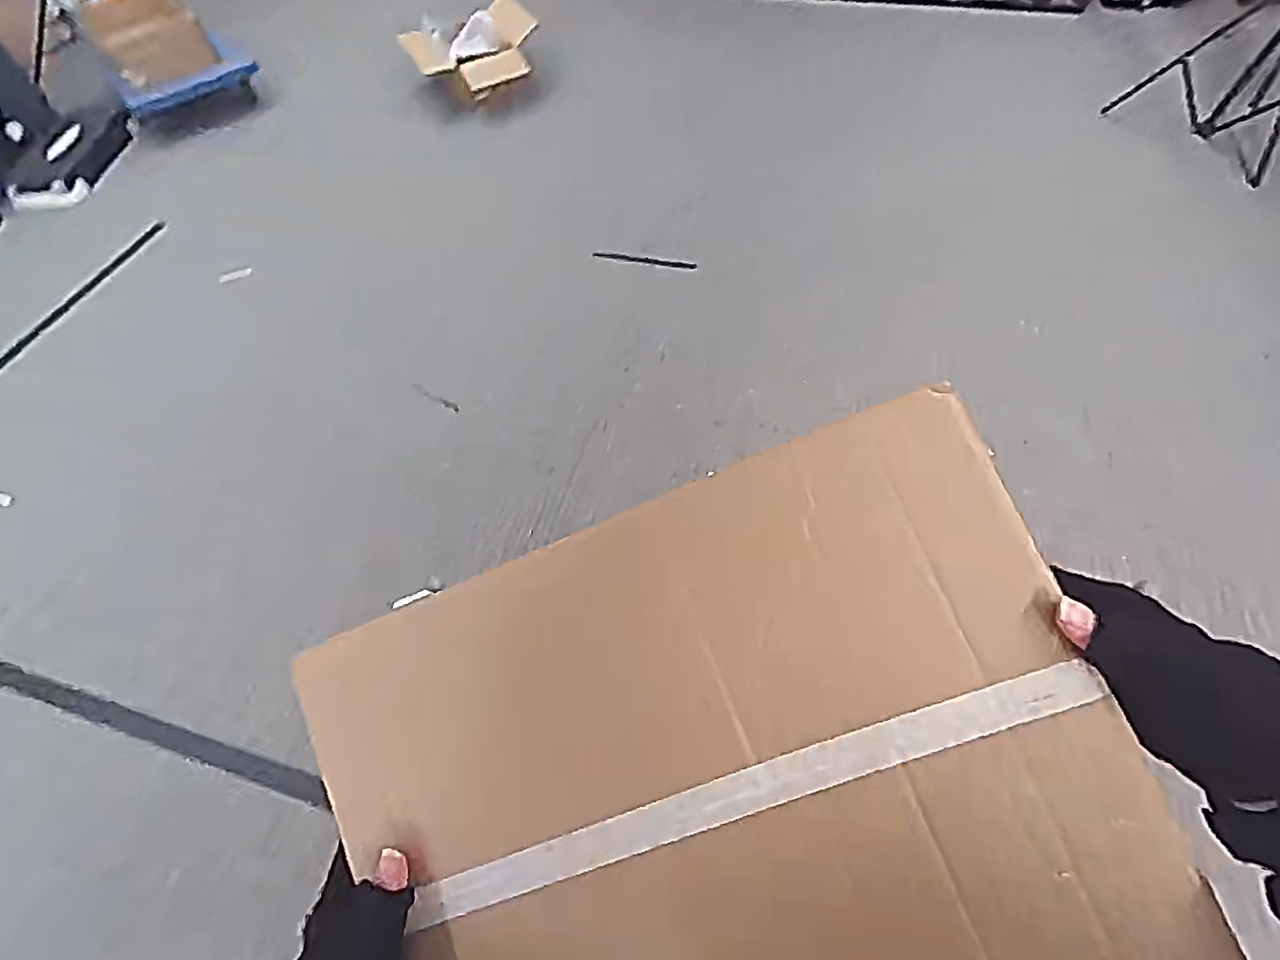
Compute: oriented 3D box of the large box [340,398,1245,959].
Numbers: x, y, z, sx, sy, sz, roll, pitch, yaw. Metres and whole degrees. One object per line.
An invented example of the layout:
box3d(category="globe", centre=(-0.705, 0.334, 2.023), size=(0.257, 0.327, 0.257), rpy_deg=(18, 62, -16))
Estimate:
box3d(category="large box", centre=(0.070, 0.184, 0.436), size=(0.408, 0.320, 0.320), rpy_deg=(-22, 83, 7))
